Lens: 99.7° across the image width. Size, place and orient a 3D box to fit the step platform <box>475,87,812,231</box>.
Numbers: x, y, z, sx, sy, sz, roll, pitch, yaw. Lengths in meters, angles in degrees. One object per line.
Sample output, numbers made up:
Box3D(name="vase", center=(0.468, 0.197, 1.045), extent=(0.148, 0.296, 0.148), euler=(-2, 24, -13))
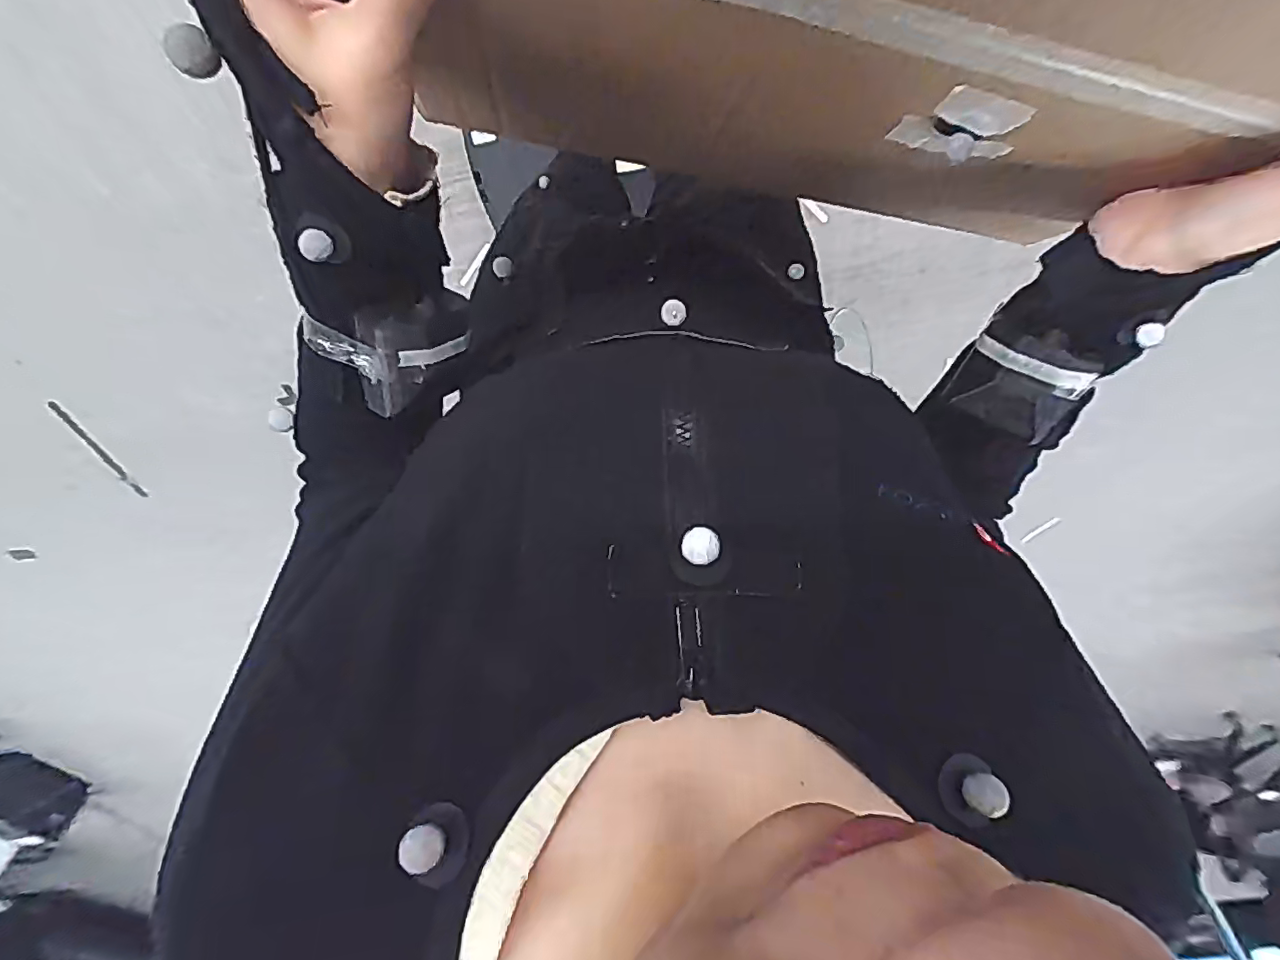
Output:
Box3D(name="step platform", center=(0.013, -0.720, 1.133), extent=(0.684, 0.204, 0.286), euler=(-6, 130, 2))

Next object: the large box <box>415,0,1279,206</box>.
Box3D(name="large box", center=(0.124, -0.328, 0.156), extent=(0.408, 0.320, 0.320), euler=(6, 97, -9))
